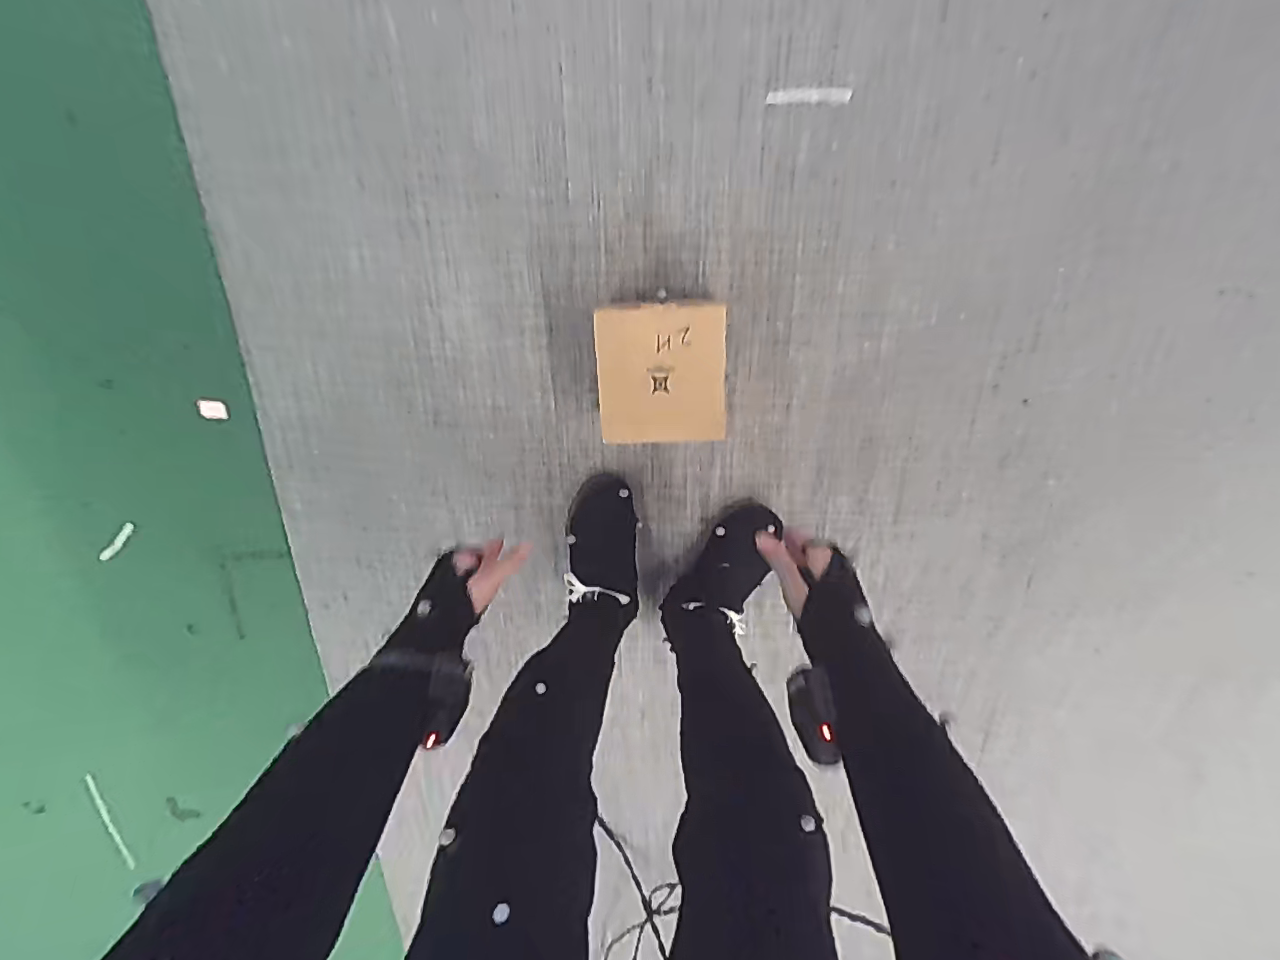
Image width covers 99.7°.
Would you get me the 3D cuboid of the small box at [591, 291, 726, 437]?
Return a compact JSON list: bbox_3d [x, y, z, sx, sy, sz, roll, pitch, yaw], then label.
[{"bbox_3d":[0.028,-0.167,0.751,0.168,0.176,0.179,1,111,4],"label":"small box"}]
